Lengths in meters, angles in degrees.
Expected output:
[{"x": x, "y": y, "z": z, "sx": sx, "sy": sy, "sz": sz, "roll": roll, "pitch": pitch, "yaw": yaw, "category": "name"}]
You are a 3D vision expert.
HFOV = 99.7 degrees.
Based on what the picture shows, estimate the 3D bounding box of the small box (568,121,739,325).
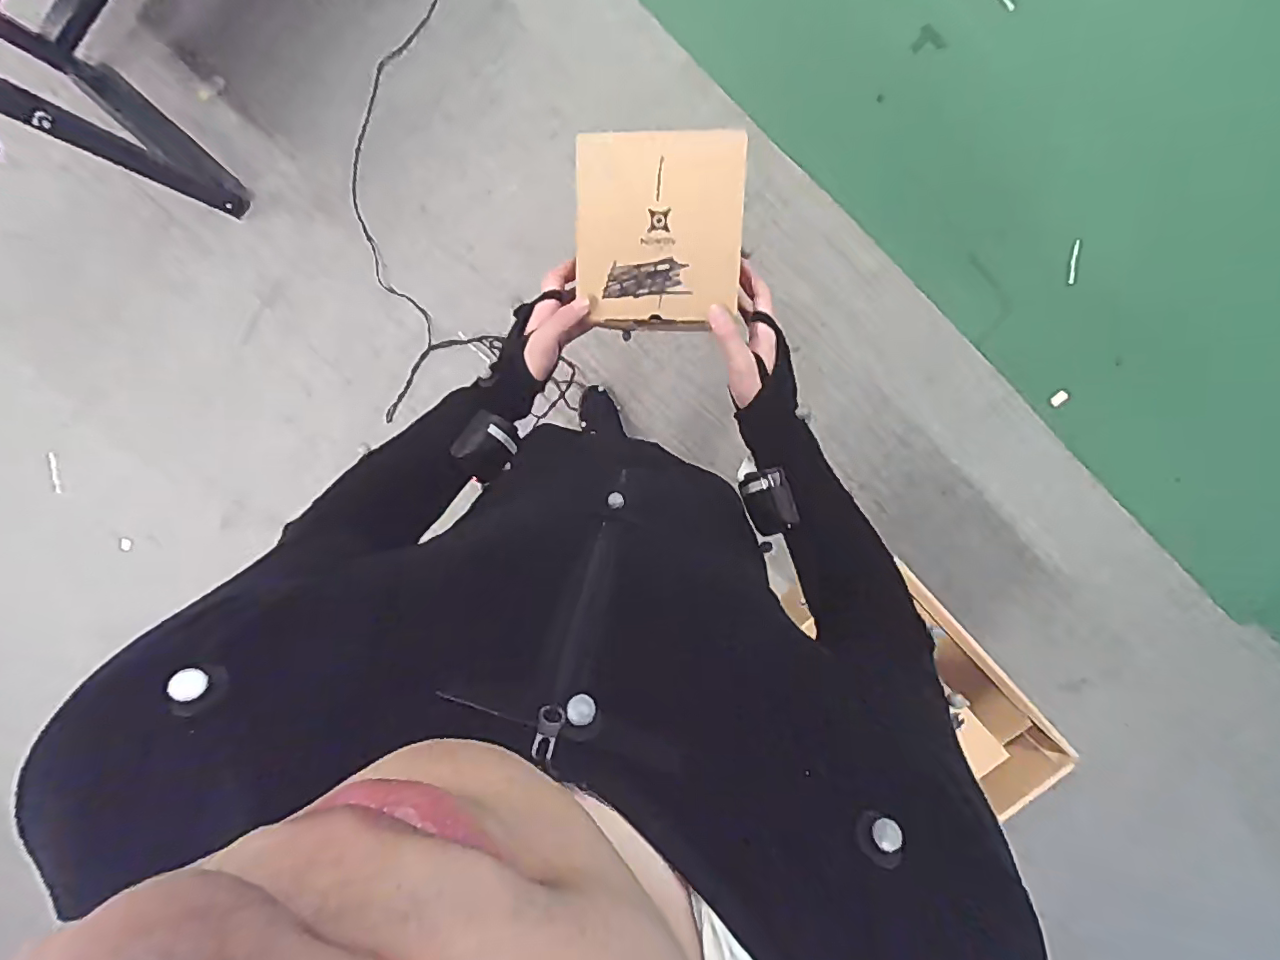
[{"x": 0.020, "y": -0.268, "z": 0.602, "sx": 0.168, "sy": 0.176, "sz": 0.179, "roll": 3, "pitch": 103, "yaw": 7, "category": "small box"}]
